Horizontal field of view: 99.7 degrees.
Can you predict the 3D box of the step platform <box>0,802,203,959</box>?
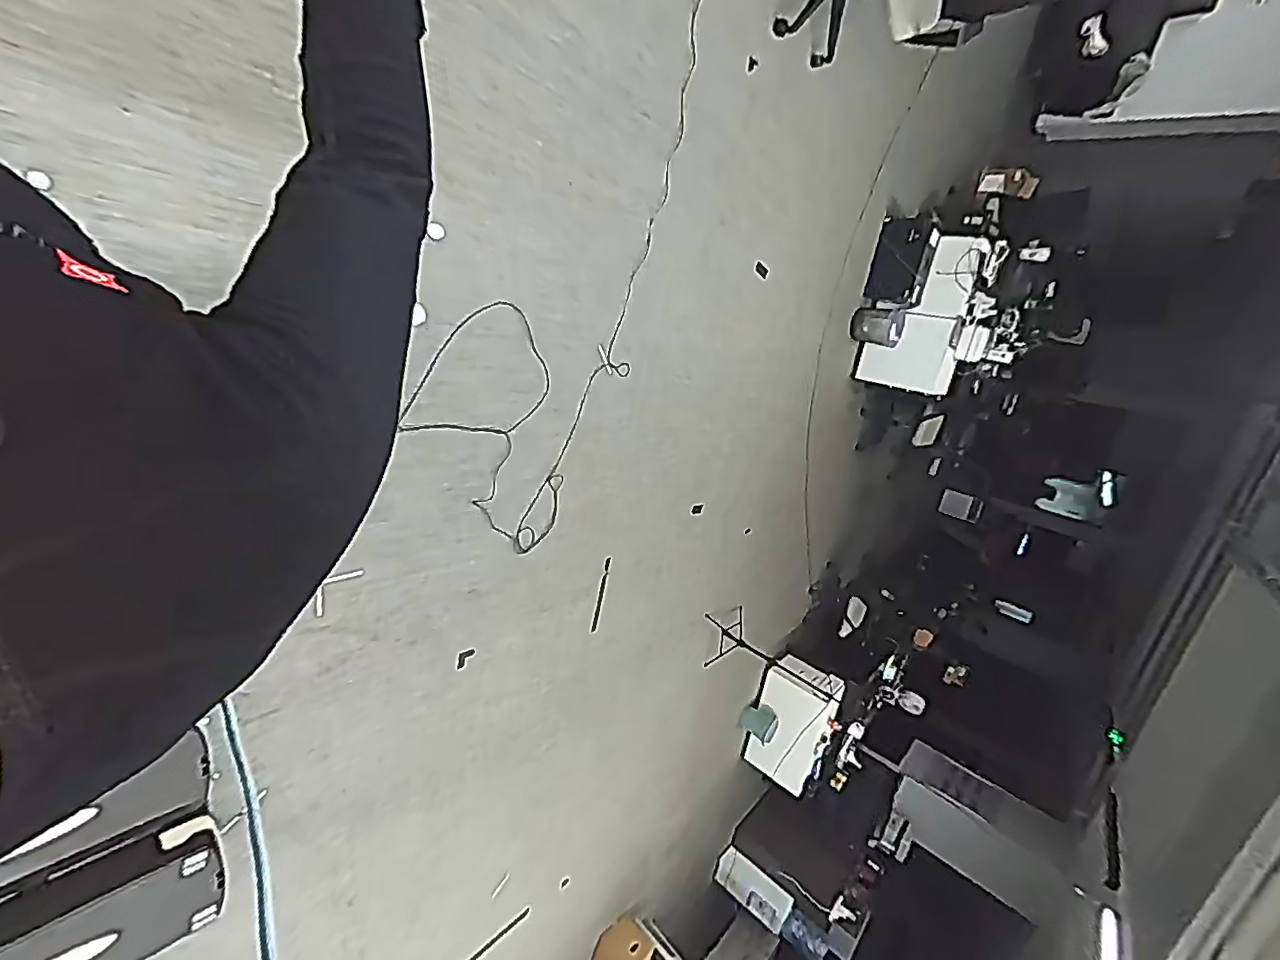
[{"bbox_3d":[-1.406,1.049,1.195,0.684,0.204,0.286,-11,117,-47],"label":"step platform"}]
